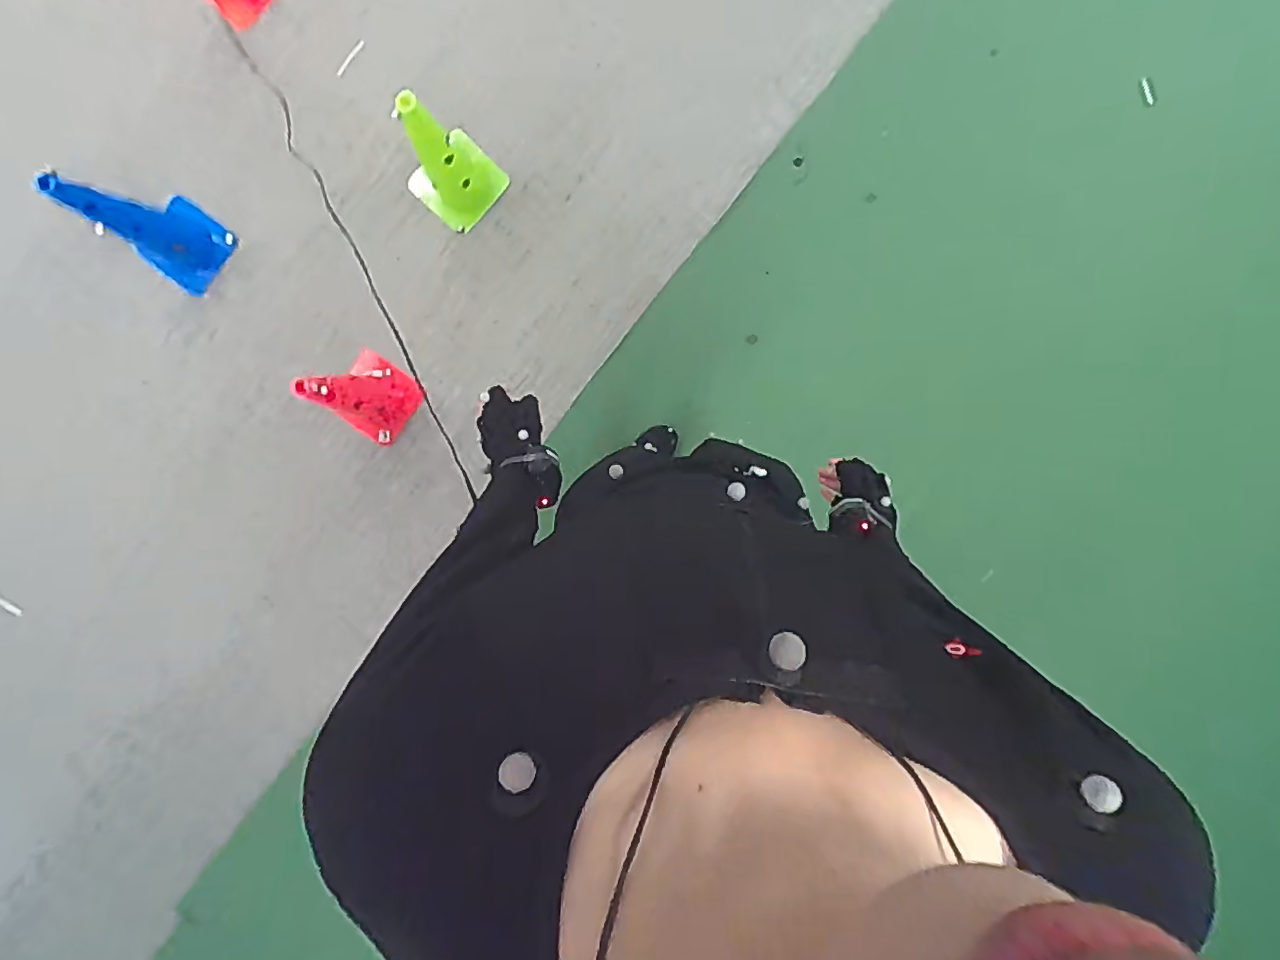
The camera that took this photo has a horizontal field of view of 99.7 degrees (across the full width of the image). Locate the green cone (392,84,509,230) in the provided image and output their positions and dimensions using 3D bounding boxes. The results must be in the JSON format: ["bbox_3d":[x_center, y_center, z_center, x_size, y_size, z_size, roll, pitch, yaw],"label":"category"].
[{"bbox_3d":[-0.469,-0.775,1.245,0.202,0.368,0.200,41,92,-4],"label":"green cone"}]

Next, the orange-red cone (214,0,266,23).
[{"bbox_3d":[-1.008,-1.266,1.189,0.199,0.360,0.198,43,94,-6],"label":"orange-red cone"}]
